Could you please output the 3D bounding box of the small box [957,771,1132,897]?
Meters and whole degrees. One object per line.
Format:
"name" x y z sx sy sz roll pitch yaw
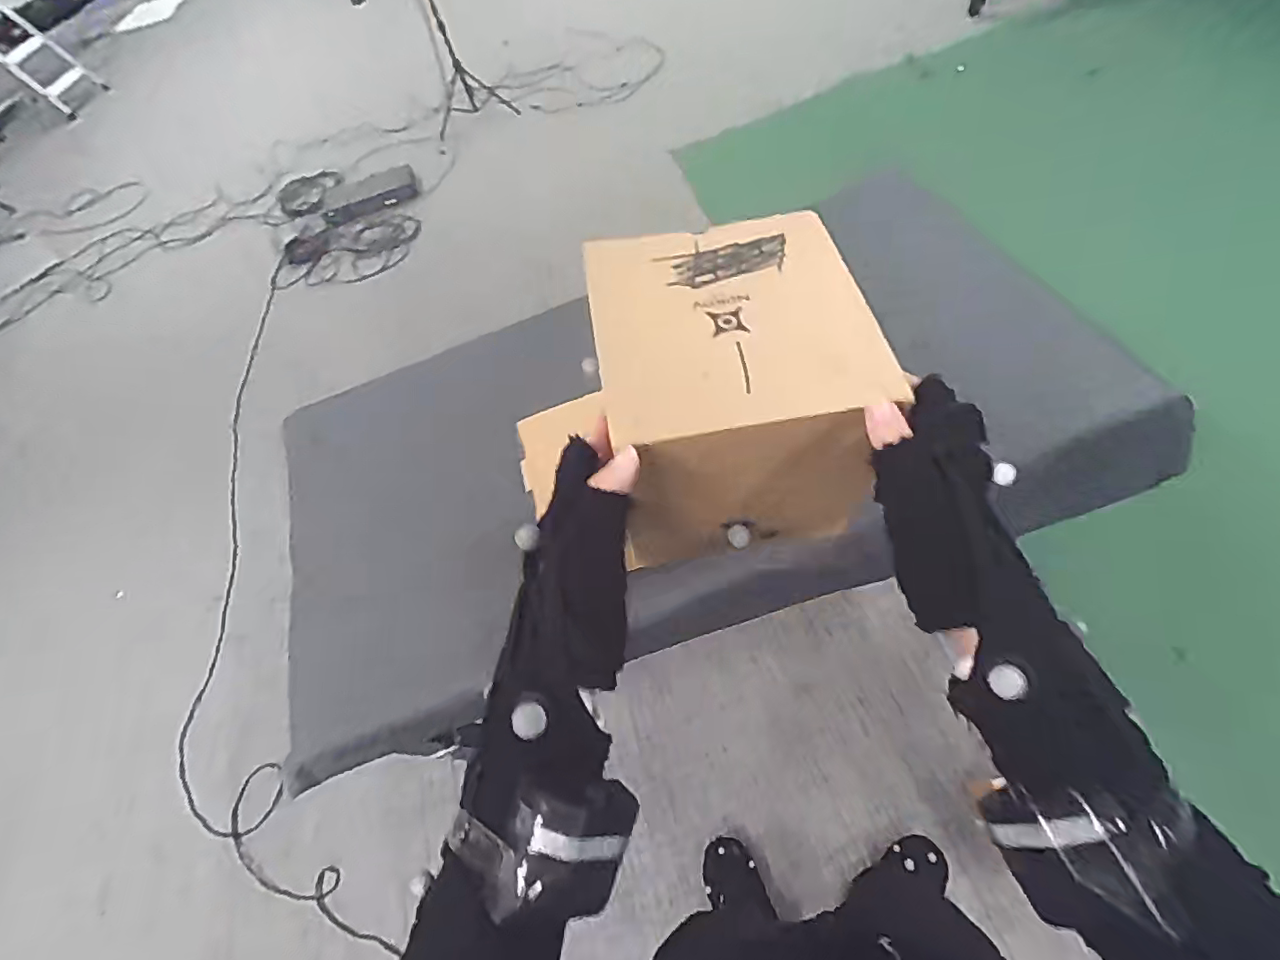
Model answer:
"small box" 0.738 0.655 1.012 0.179 0.176 0.168 -15 57 4

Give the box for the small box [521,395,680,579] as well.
"small box" -0.031 0.006 0.687 0.179 0.176 0.168 -18 57 0

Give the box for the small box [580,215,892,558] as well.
"small box" 0.051 -0.062 0.403 0.168 0.176 0.179 -8 60 0
